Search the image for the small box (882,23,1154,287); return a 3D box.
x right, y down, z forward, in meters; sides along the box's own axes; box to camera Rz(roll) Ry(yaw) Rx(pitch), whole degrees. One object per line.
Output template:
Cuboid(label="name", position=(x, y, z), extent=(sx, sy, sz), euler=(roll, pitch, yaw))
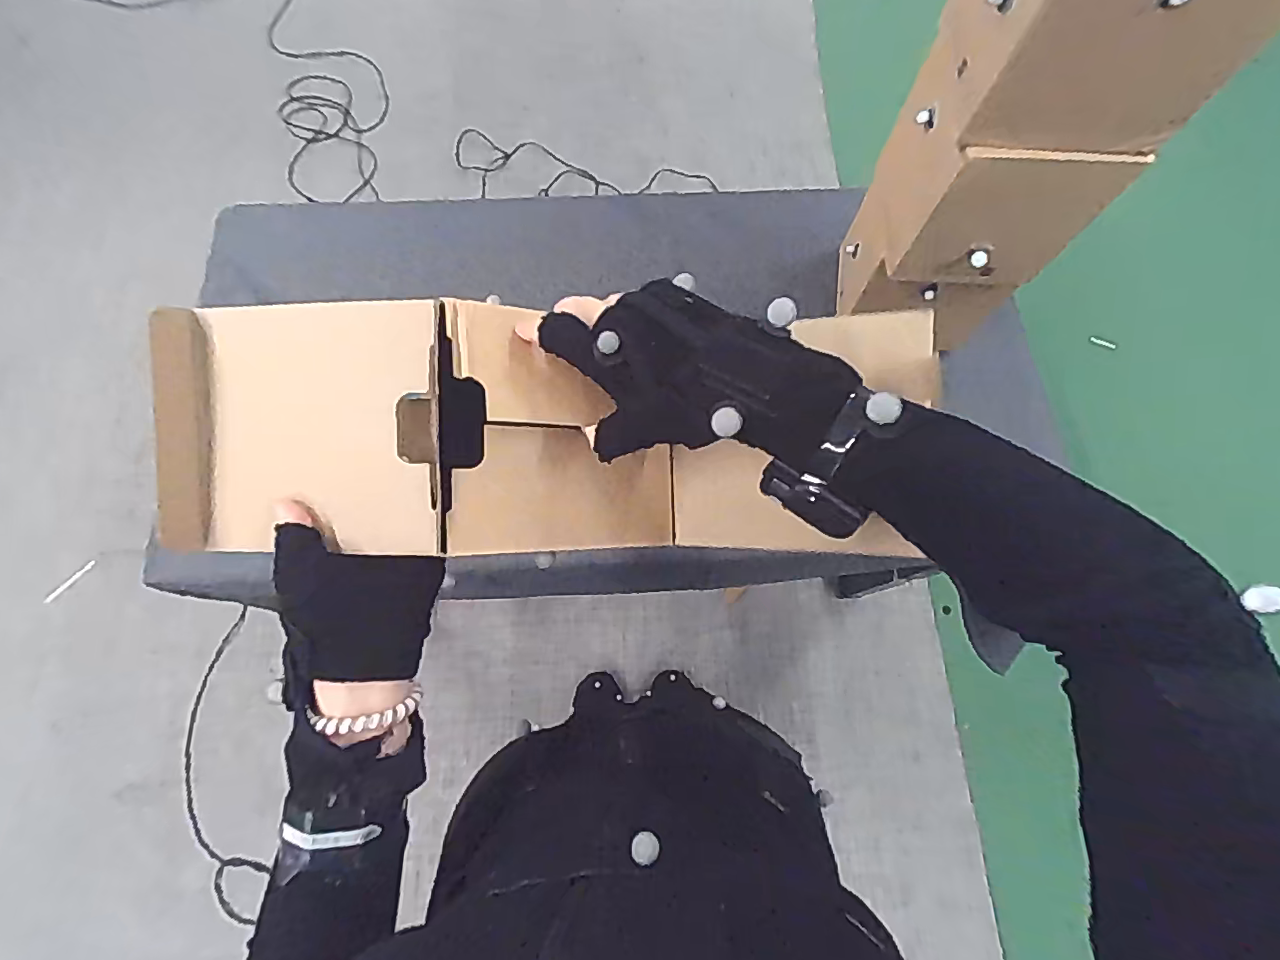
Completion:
Cuboid(label="small box", position=(0.375, -0.336, 0.577), extent=(0.168, 0.176, 0.179), euler=(3, 72, 2))

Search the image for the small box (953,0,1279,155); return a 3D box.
Cuboid(label="small box", position=(0.371, -0.389, 0.424), extent=(0.179, 0.176, 0.168), euler=(6, 73, 2))

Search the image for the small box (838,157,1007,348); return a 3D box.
Cuboid(label="small box", position=(0.384, -0.300, 0.738), extent=(0.179, 0.176, 0.168), euler=(9, 72, 3))
